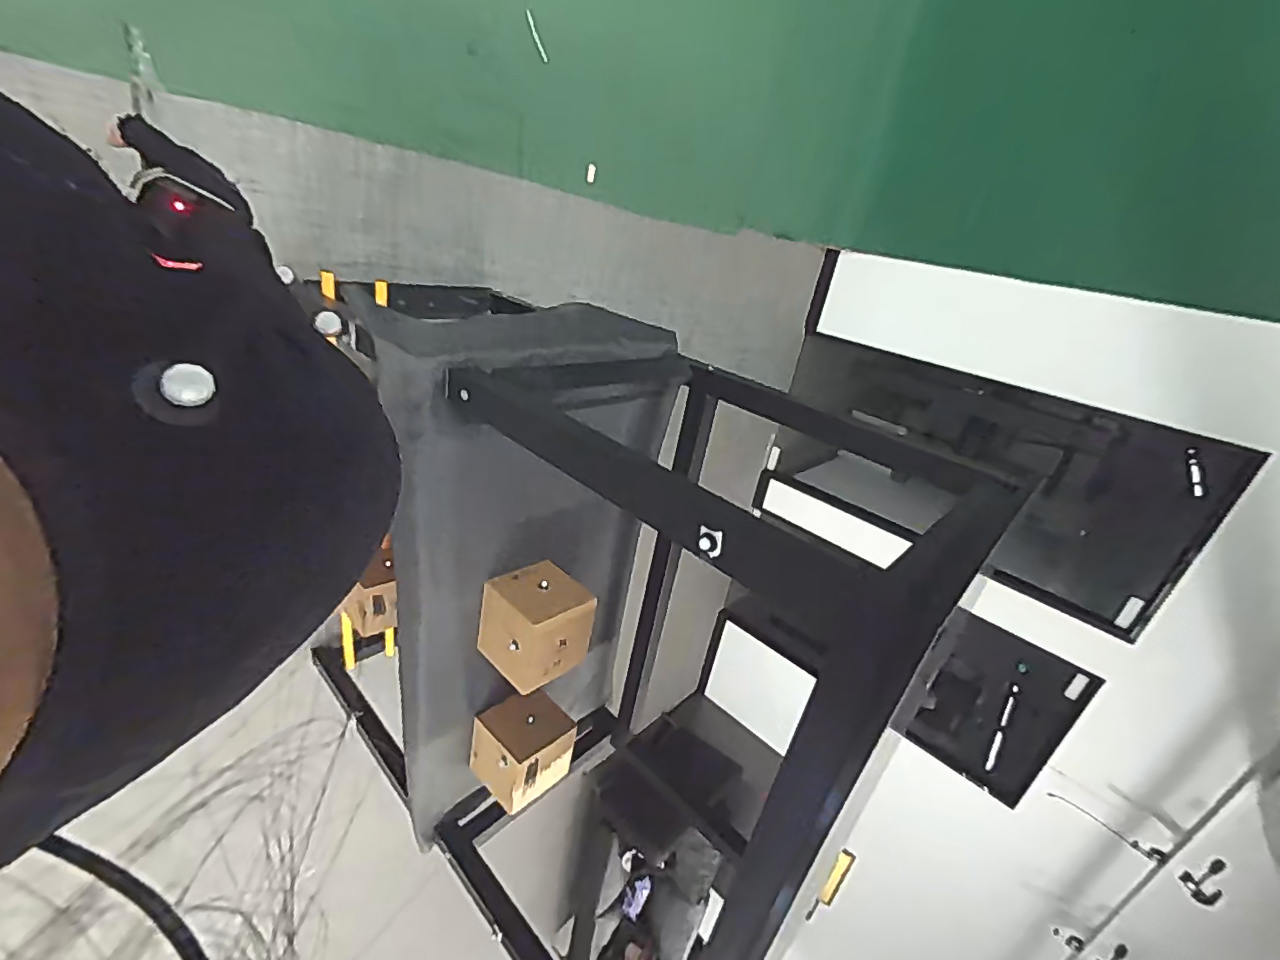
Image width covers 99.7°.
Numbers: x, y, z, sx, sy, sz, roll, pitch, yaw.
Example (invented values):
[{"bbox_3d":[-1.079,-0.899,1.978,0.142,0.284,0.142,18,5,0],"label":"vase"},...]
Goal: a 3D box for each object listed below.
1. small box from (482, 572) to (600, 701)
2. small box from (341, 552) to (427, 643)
[{"bbox_3d":[-0.211,0.311,1.125,0.168,0.176,0.179,-13,123,-47],"label":"small box"},{"bbox_3d":[-0.743,0.331,1.560,0.179,0.176,0.168,-12,123,-48],"label":"small box"}]
